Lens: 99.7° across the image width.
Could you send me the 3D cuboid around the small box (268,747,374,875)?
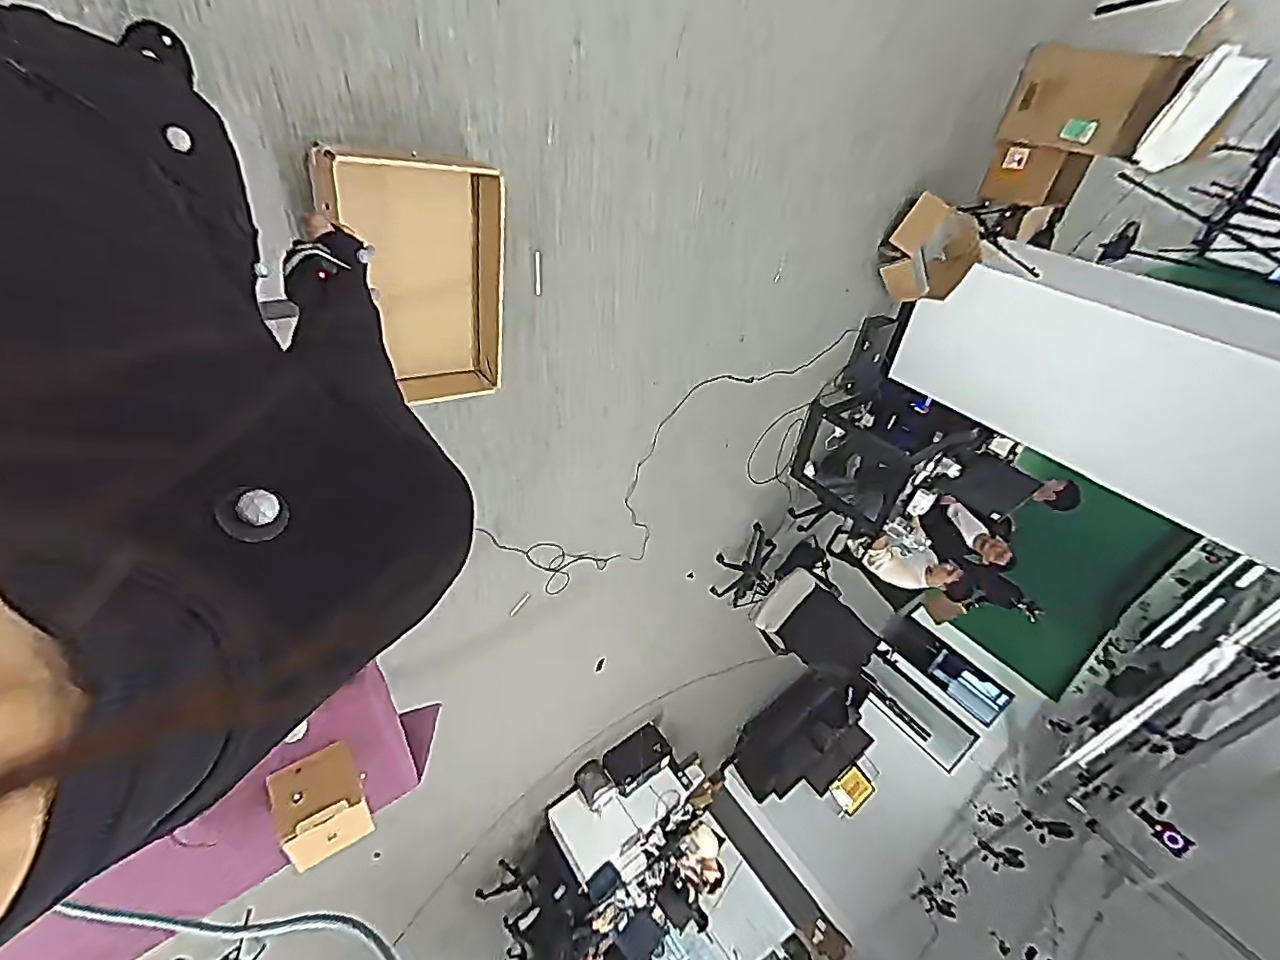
[{"bbox_3d":[-0.749,0.766,1.271,0.168,0.176,0.179,-18,135,-33],"label":"small box"}]
